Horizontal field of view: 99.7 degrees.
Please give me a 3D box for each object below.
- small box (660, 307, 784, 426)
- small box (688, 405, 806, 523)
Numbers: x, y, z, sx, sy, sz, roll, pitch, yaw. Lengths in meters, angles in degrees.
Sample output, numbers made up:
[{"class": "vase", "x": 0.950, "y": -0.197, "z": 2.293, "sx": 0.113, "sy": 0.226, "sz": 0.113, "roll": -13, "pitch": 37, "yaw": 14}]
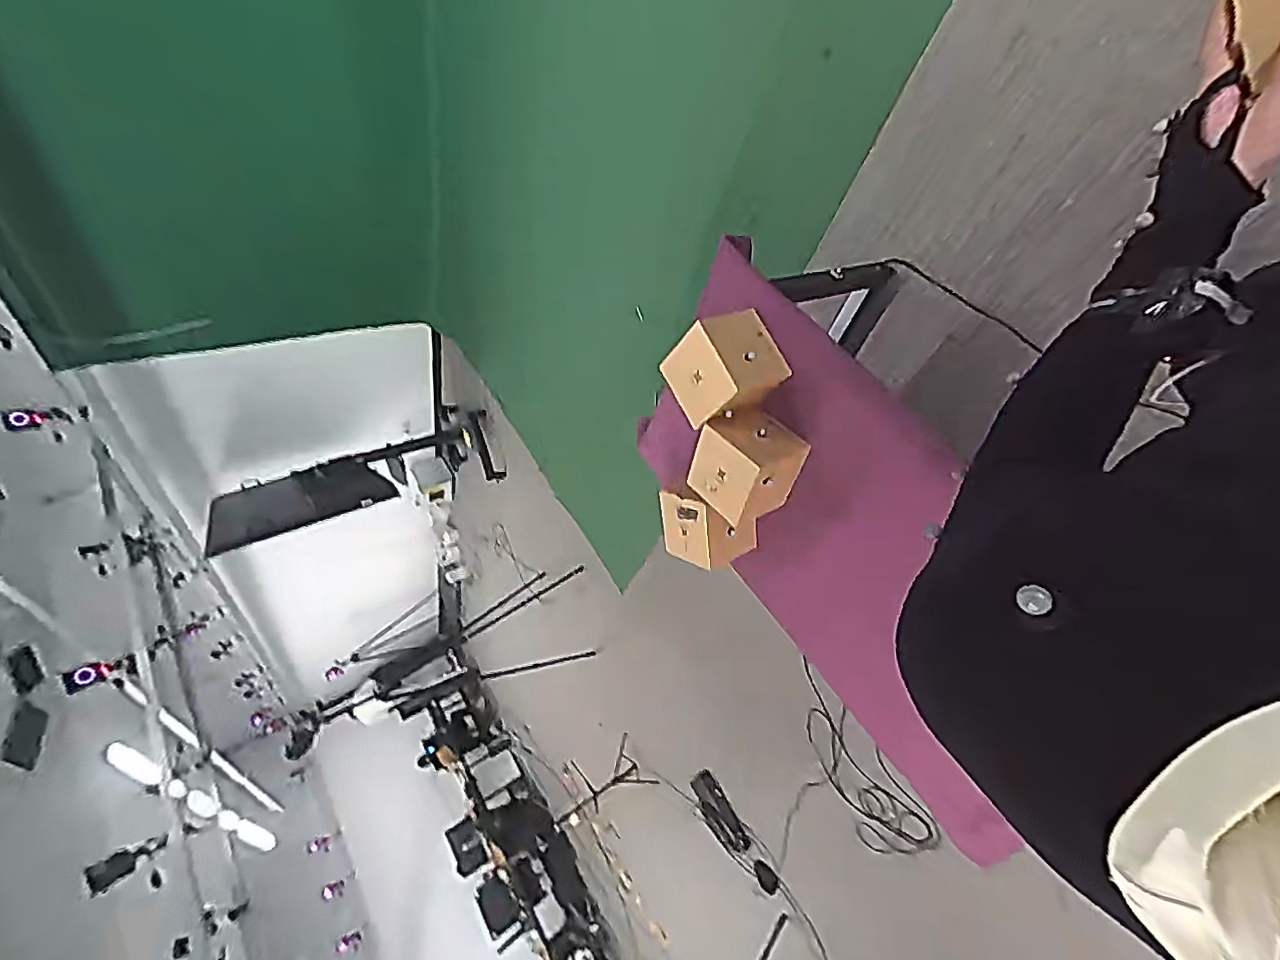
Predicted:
[{"class": "small box", "x": 0.179, "y": -0.244, "z": 1.151, "sx": 0.168, "sy": 0.176, "sz": 0.179, "roll": 61, "pitch": 149, "yaw": 8}, {"class": "small box", "x": 0.236, "y": -0.043, "z": 1.189, "sx": 0.168, "sy": 0.176, "sz": 0.179, "roll": 45, "pitch": 141, "yaw": 31}]
